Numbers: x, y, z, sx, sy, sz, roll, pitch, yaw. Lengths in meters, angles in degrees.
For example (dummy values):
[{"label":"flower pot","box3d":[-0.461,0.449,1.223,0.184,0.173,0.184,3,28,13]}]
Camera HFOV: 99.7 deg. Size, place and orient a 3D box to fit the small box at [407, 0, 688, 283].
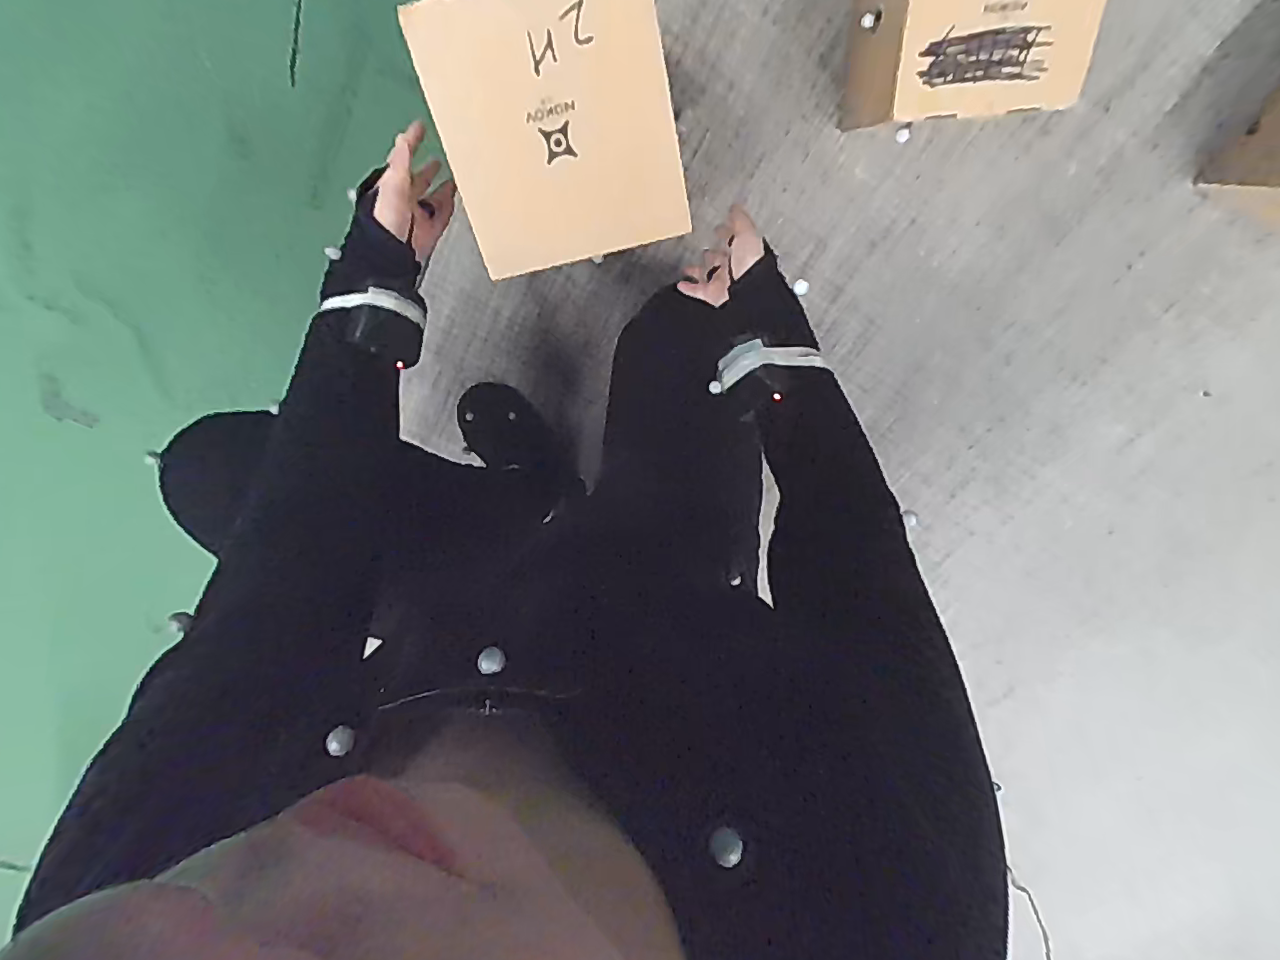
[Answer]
[{"label":"small box","box3d":[-0.055,-0.286,0.455,0.168,0.176,0.179,-10,118,7]}]
